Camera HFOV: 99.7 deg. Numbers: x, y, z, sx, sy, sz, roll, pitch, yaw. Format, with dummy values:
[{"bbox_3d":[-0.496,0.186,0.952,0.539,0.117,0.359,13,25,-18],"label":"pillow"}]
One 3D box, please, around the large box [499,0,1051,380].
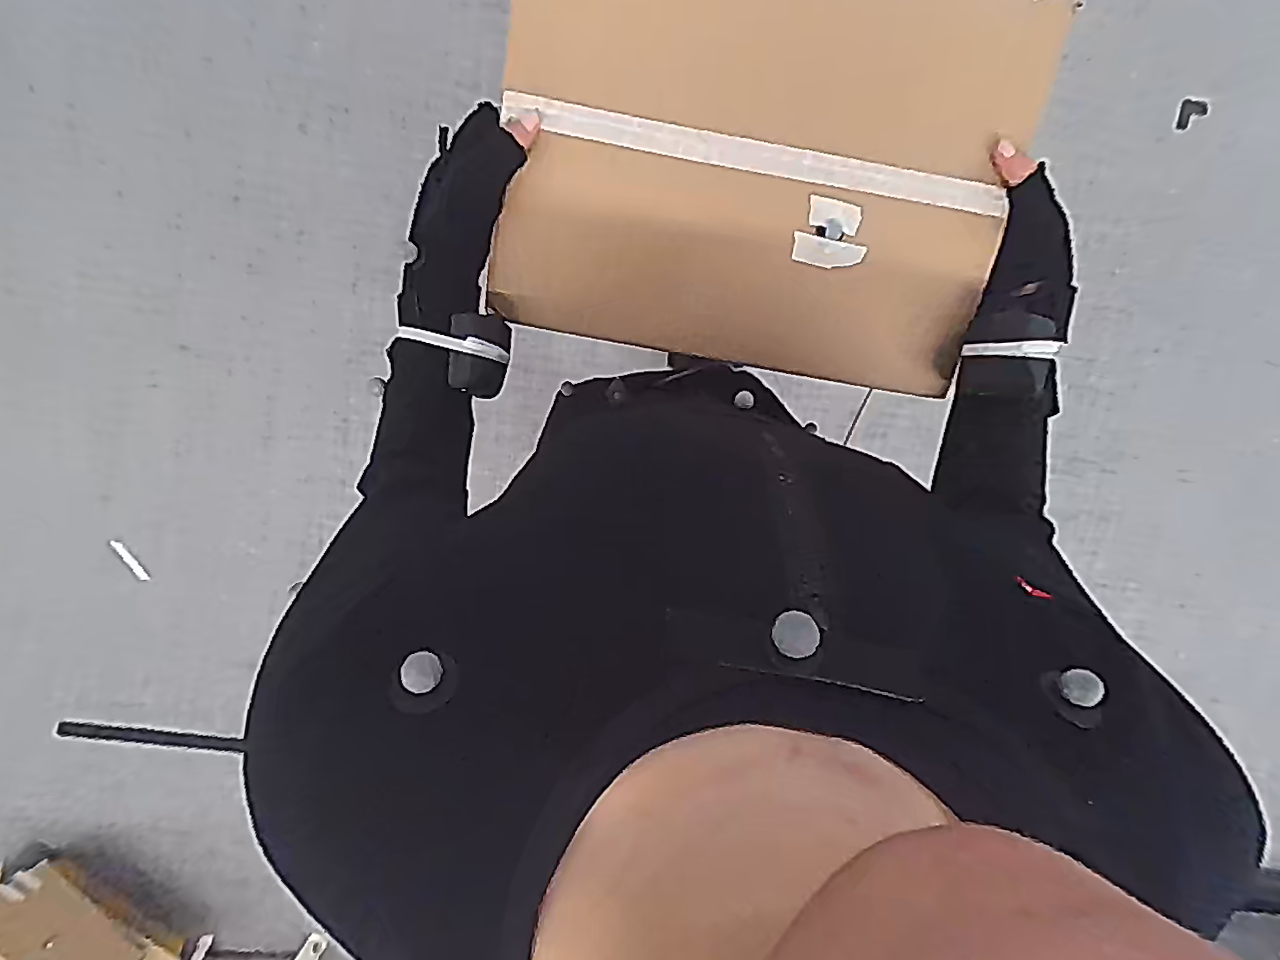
[{"bbox_3d":[0.091,-0.305,0.581,0.408,0.320,0.320,9,107,-4],"label":"large box"}]
